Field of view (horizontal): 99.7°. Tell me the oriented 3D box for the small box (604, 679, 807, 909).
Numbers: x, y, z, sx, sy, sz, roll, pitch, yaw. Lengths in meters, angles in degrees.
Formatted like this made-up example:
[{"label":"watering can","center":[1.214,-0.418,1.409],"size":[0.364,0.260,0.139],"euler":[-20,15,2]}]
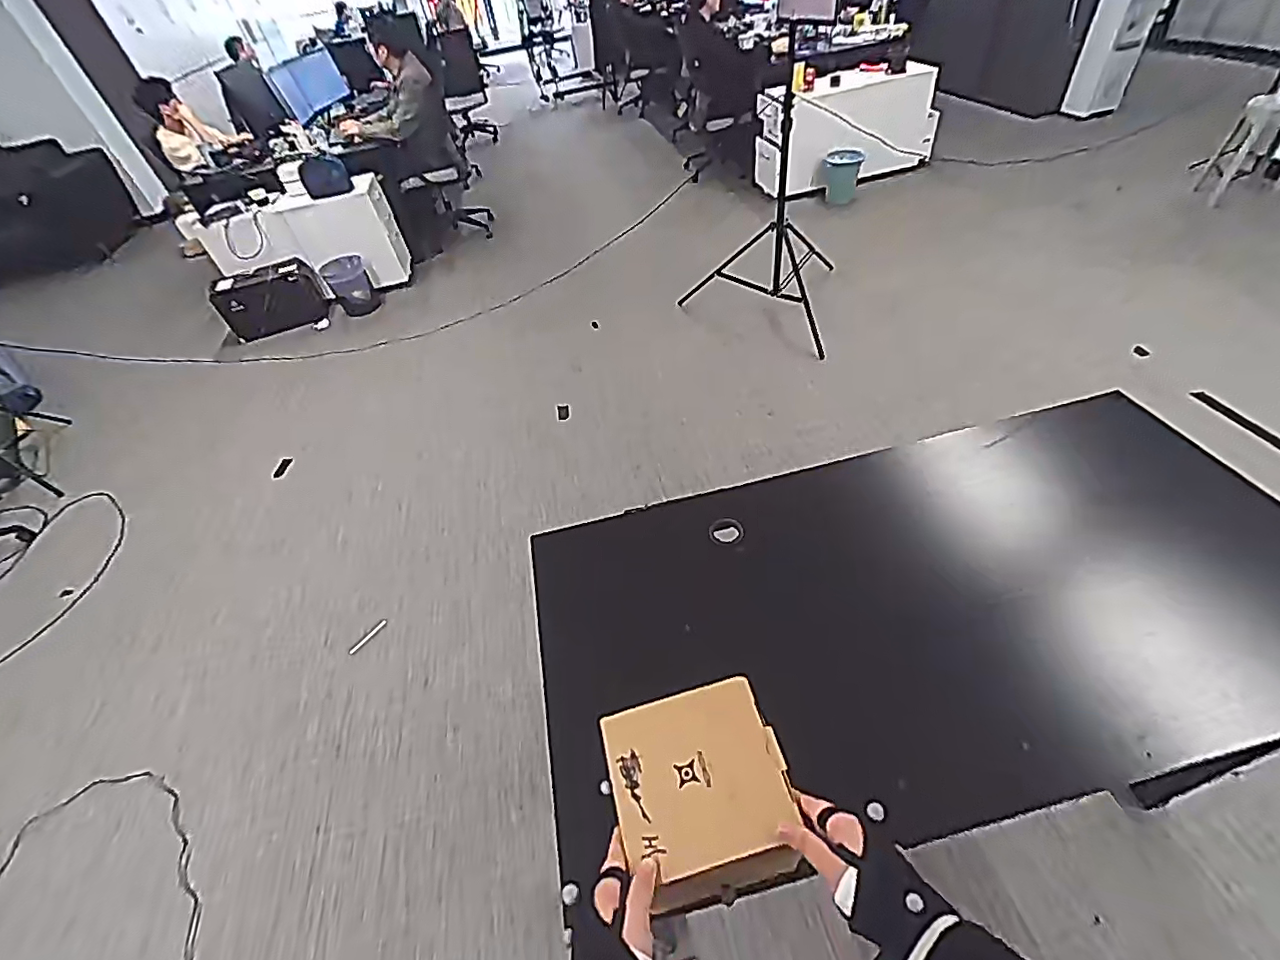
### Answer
[{"label":"small box","center":[0.067,0.359,0.619],"size":[0.179,0.176,0.168],"euler":[-14,45,-5]}]
